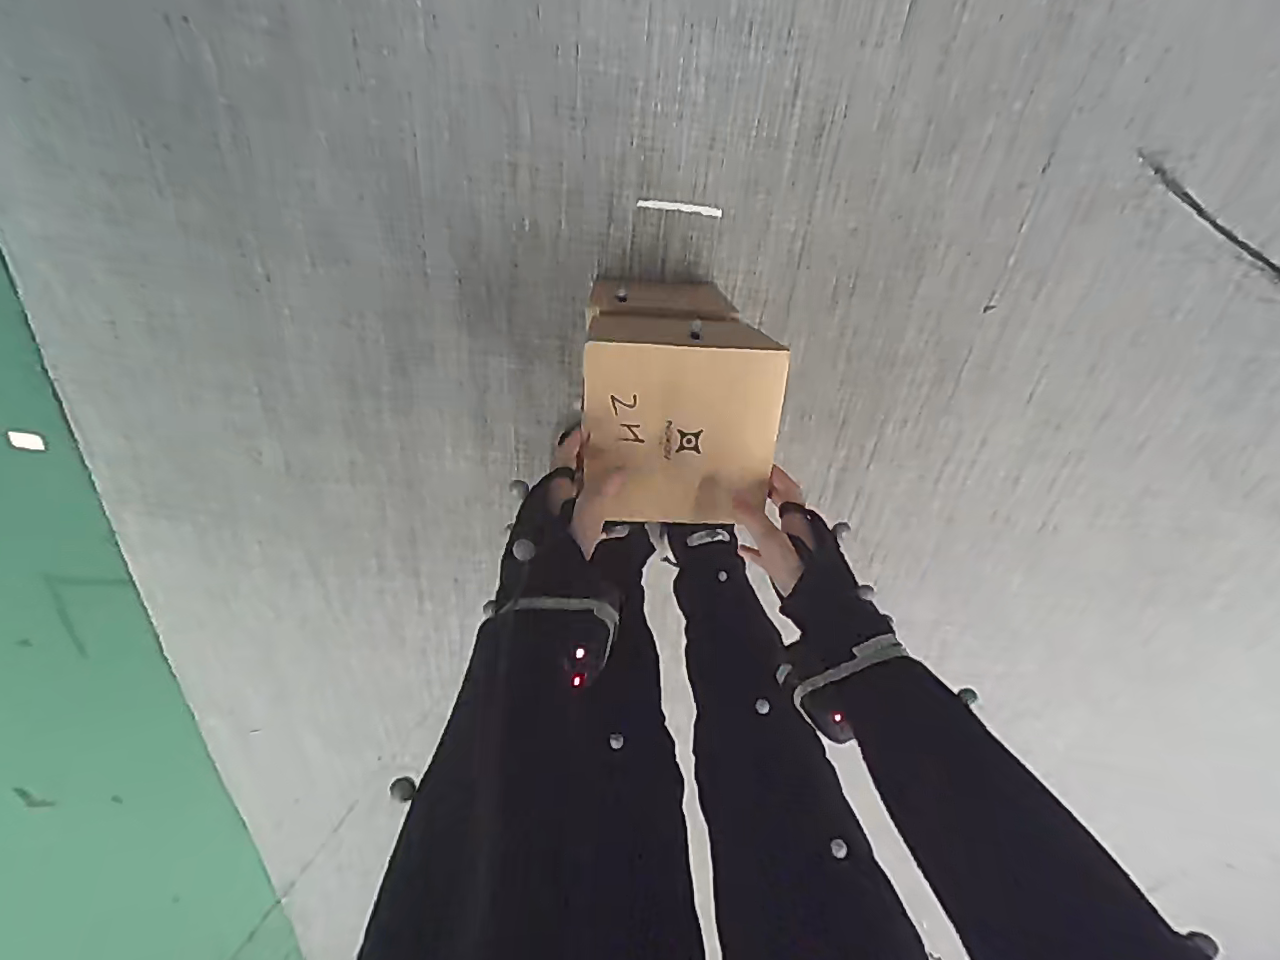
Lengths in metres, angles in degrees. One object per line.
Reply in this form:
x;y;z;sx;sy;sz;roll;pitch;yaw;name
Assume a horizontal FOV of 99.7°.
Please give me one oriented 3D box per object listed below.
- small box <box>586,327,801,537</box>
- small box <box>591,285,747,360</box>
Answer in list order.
0.038;-0.057;0.540;0.179;0.176;0.168;2;113;-3;small box
0.027;-0.150;0.701;0.179;0.176;0.168;2;120;-1;small box
